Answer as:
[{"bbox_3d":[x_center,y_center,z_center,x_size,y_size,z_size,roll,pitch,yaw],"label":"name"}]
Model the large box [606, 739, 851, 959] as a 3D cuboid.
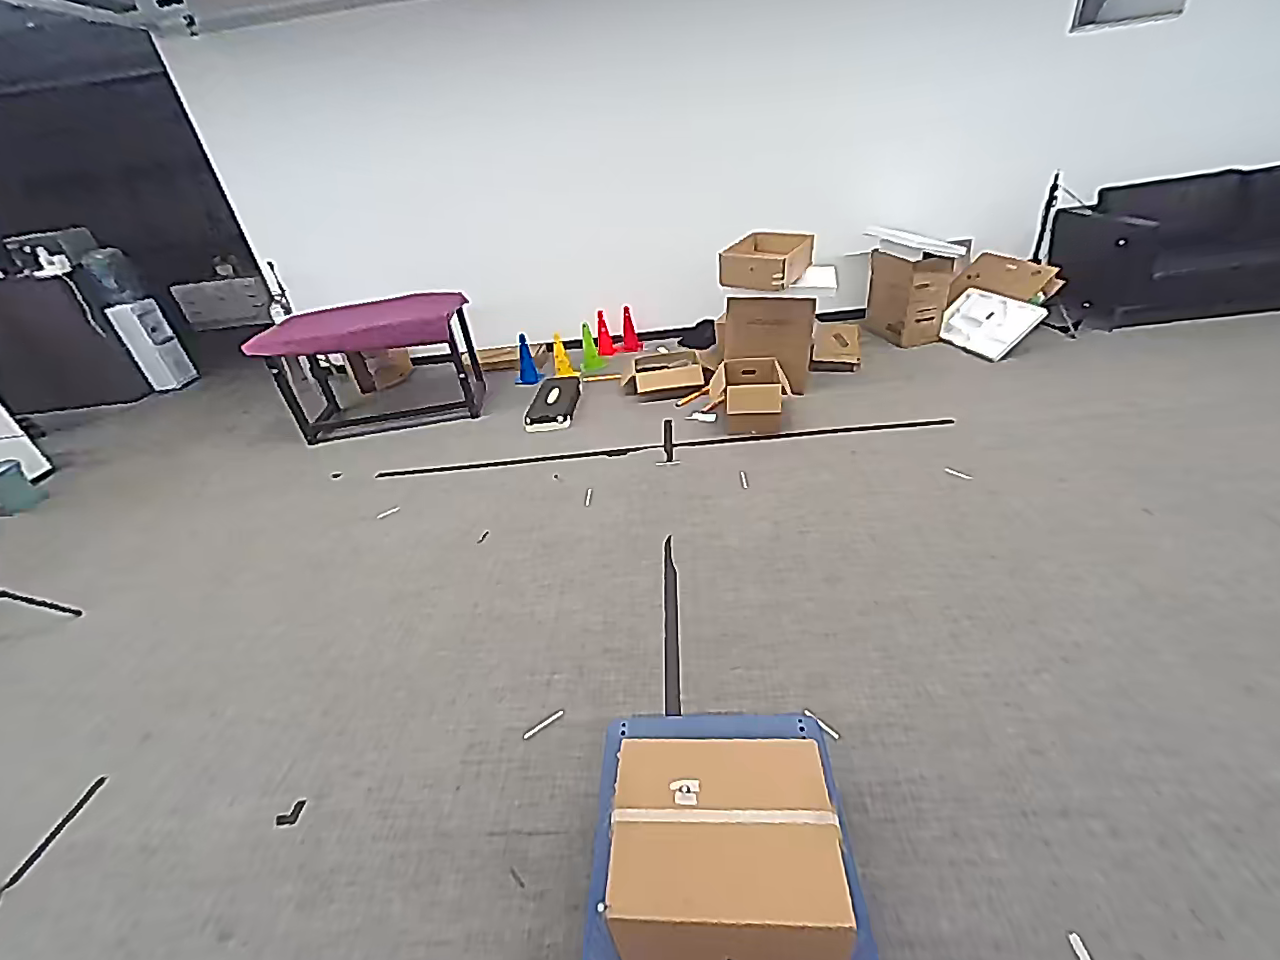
[{"bbox_3d":[0.169,0.756,1.082,0.408,0.320,0.320,-5,32,7],"label":"large box"}]
